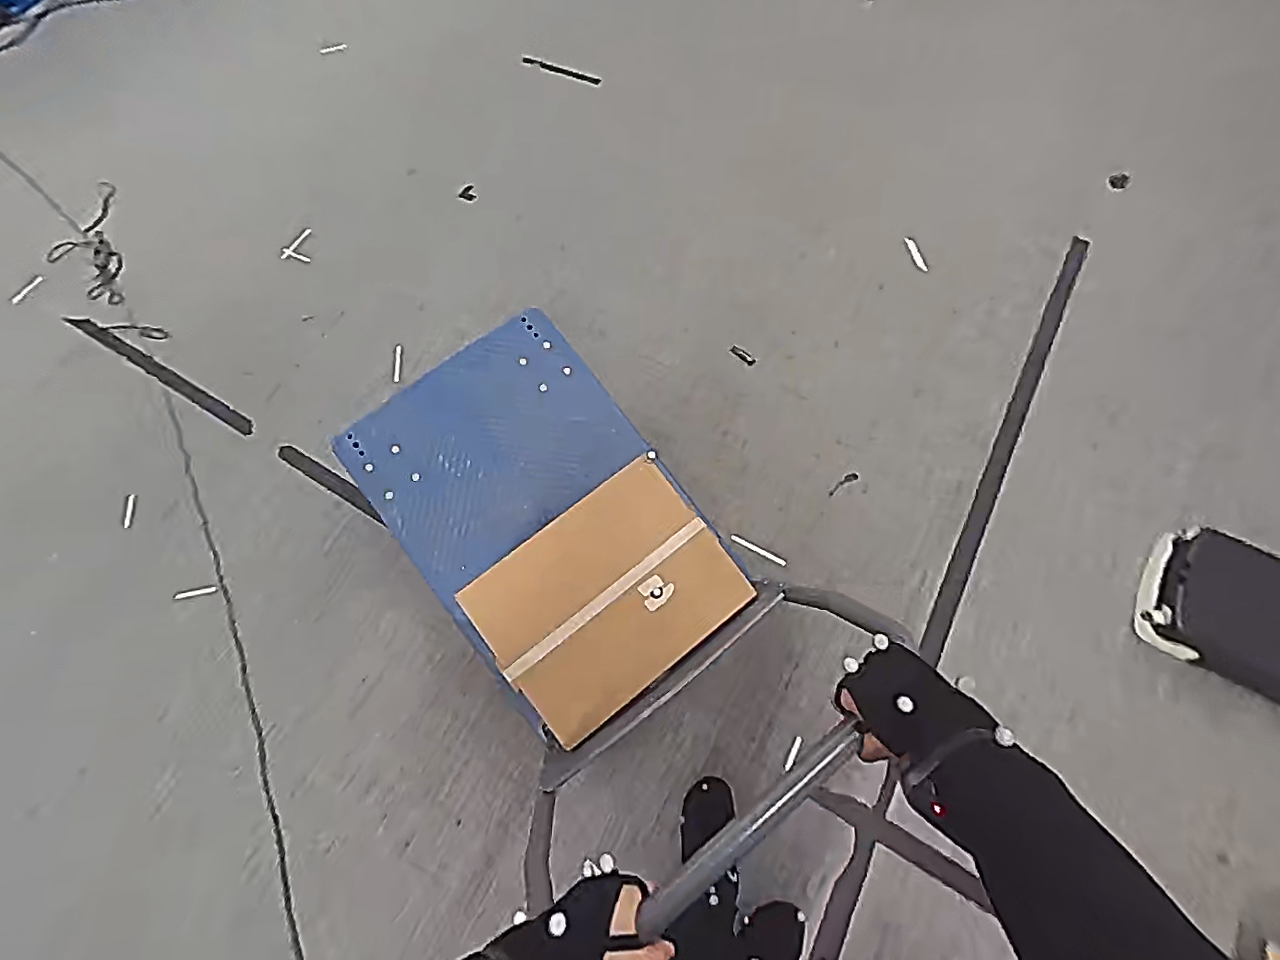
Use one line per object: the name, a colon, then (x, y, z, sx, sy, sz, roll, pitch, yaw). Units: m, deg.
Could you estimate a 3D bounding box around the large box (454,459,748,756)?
large box: (-0.072, 0.229, 1.041, 0.408, 0.320, 0.320, -38, 85, -11)
